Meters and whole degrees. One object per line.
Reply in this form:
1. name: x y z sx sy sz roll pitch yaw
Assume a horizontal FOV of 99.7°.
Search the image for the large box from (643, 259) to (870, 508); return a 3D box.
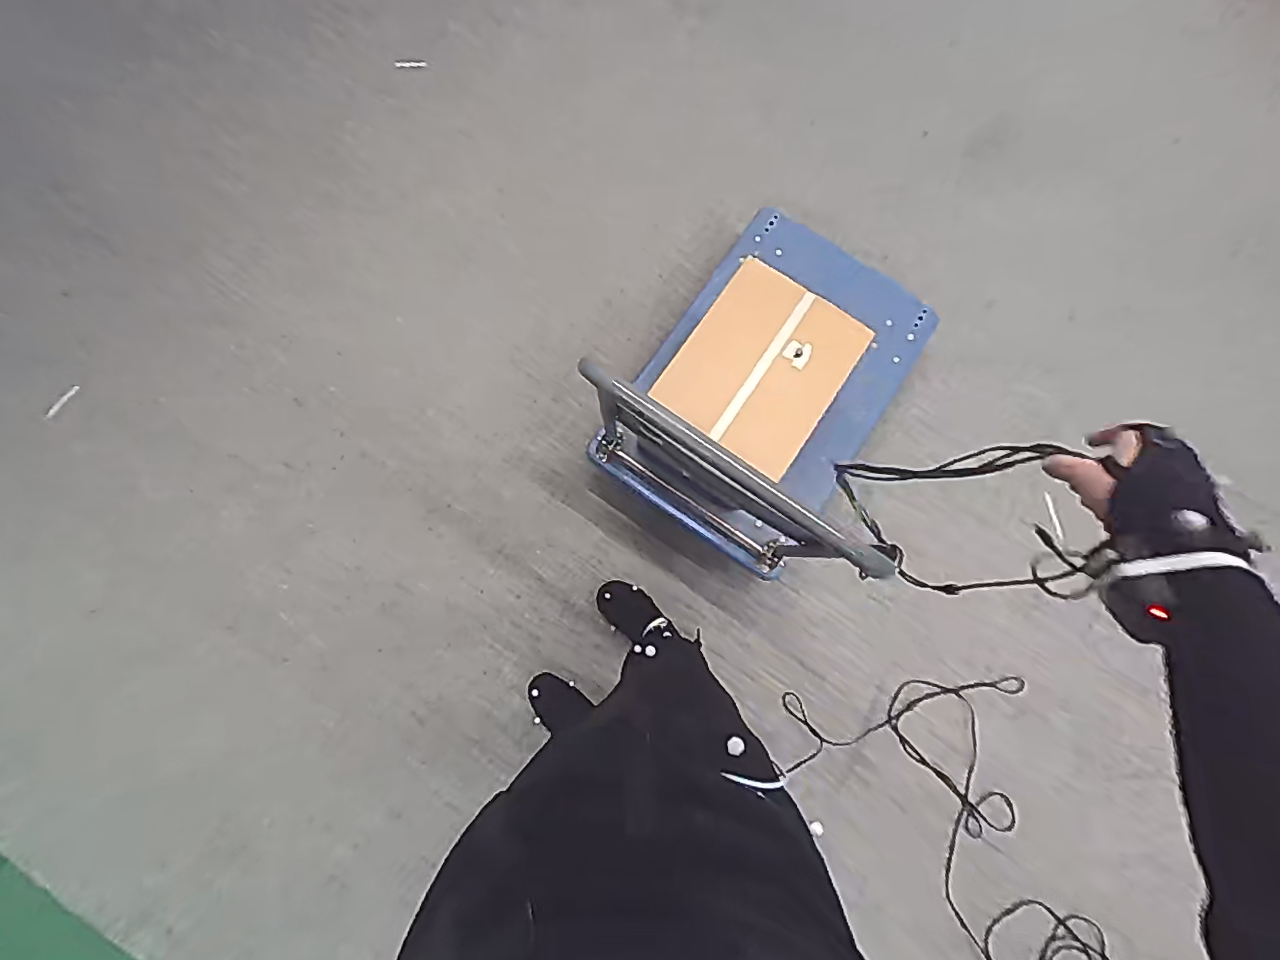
1. large box: 0.241 -0.198 1.243 0.320 0.320 0.408 35 79 4
